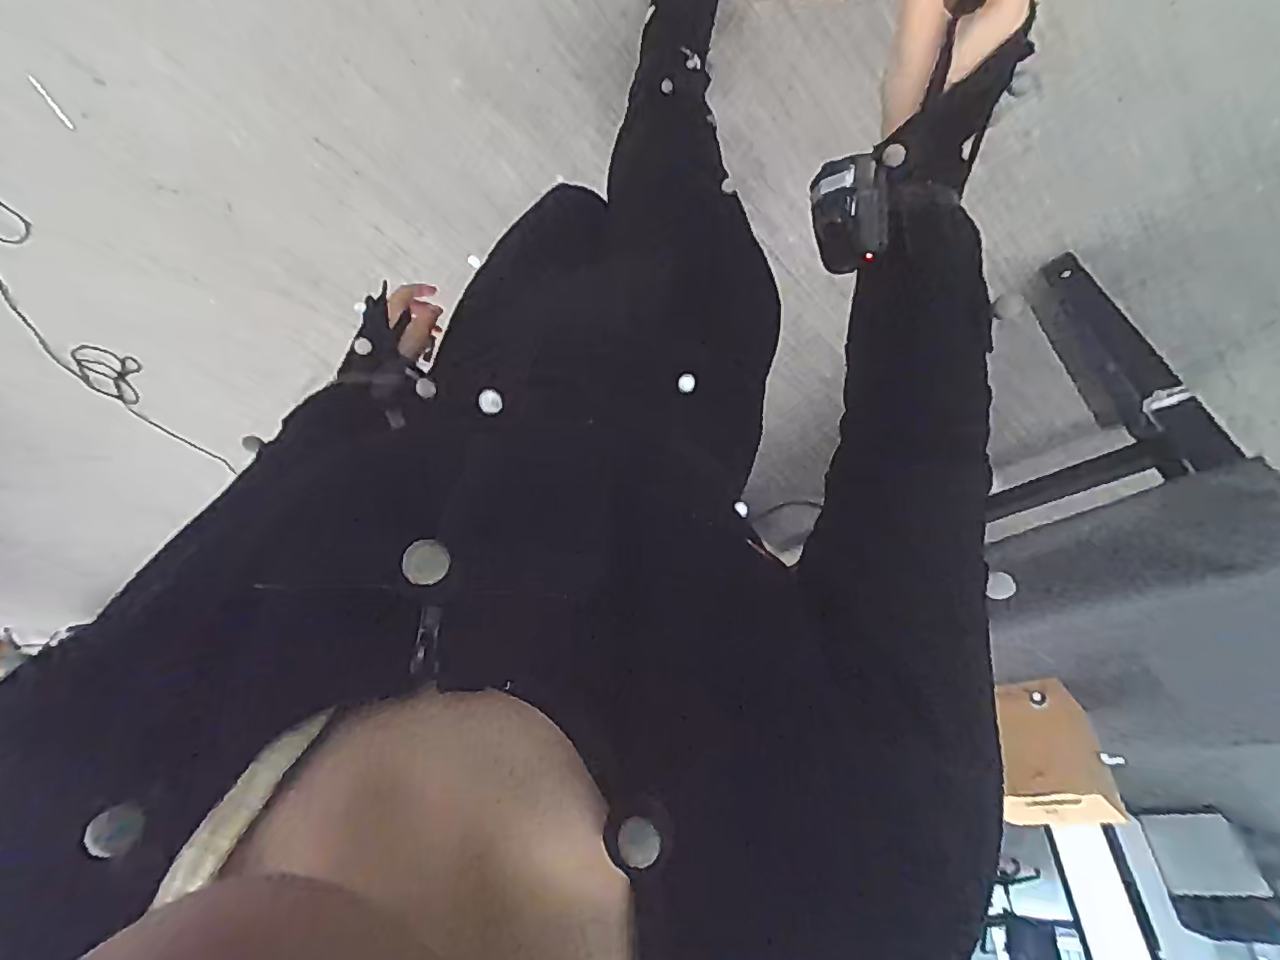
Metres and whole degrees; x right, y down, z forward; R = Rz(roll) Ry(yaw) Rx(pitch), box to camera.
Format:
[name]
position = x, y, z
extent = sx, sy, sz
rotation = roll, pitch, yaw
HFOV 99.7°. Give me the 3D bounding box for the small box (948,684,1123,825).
[small box]
position = 0.637, 0.448, 0.888
extent = 0.168, 0.176, 0.179
rotation = -28, 127, 35
